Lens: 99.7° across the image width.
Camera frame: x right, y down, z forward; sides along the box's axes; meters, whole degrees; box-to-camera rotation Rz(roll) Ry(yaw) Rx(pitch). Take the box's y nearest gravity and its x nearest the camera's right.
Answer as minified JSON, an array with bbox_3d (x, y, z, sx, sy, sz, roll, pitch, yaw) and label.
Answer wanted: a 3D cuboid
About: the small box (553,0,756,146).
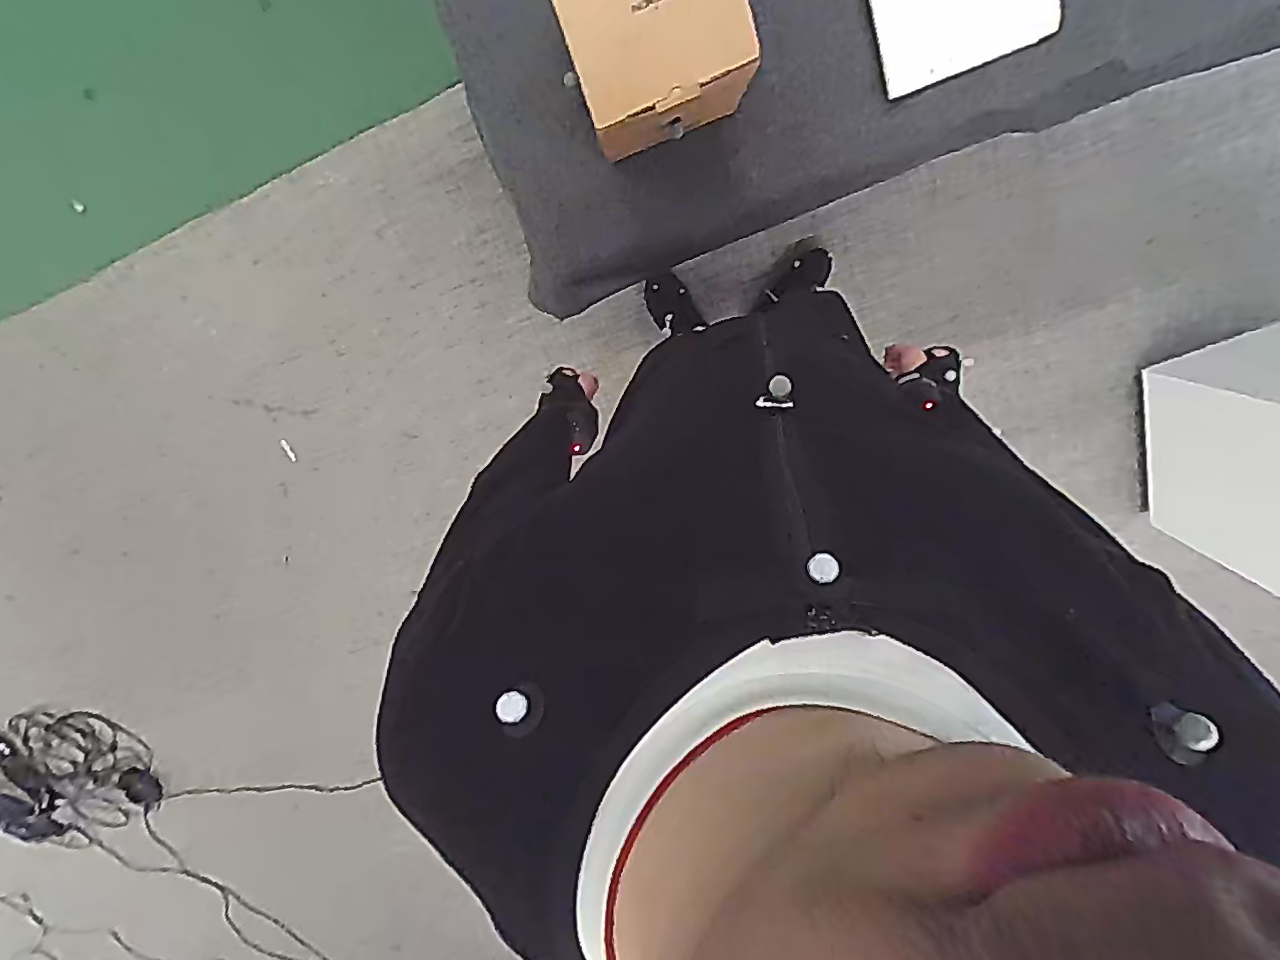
[{"bbox_3d":[0.007,-0.470,0.556,0.168,0.176,0.179,-19,112,8],"label":"small box"}]
